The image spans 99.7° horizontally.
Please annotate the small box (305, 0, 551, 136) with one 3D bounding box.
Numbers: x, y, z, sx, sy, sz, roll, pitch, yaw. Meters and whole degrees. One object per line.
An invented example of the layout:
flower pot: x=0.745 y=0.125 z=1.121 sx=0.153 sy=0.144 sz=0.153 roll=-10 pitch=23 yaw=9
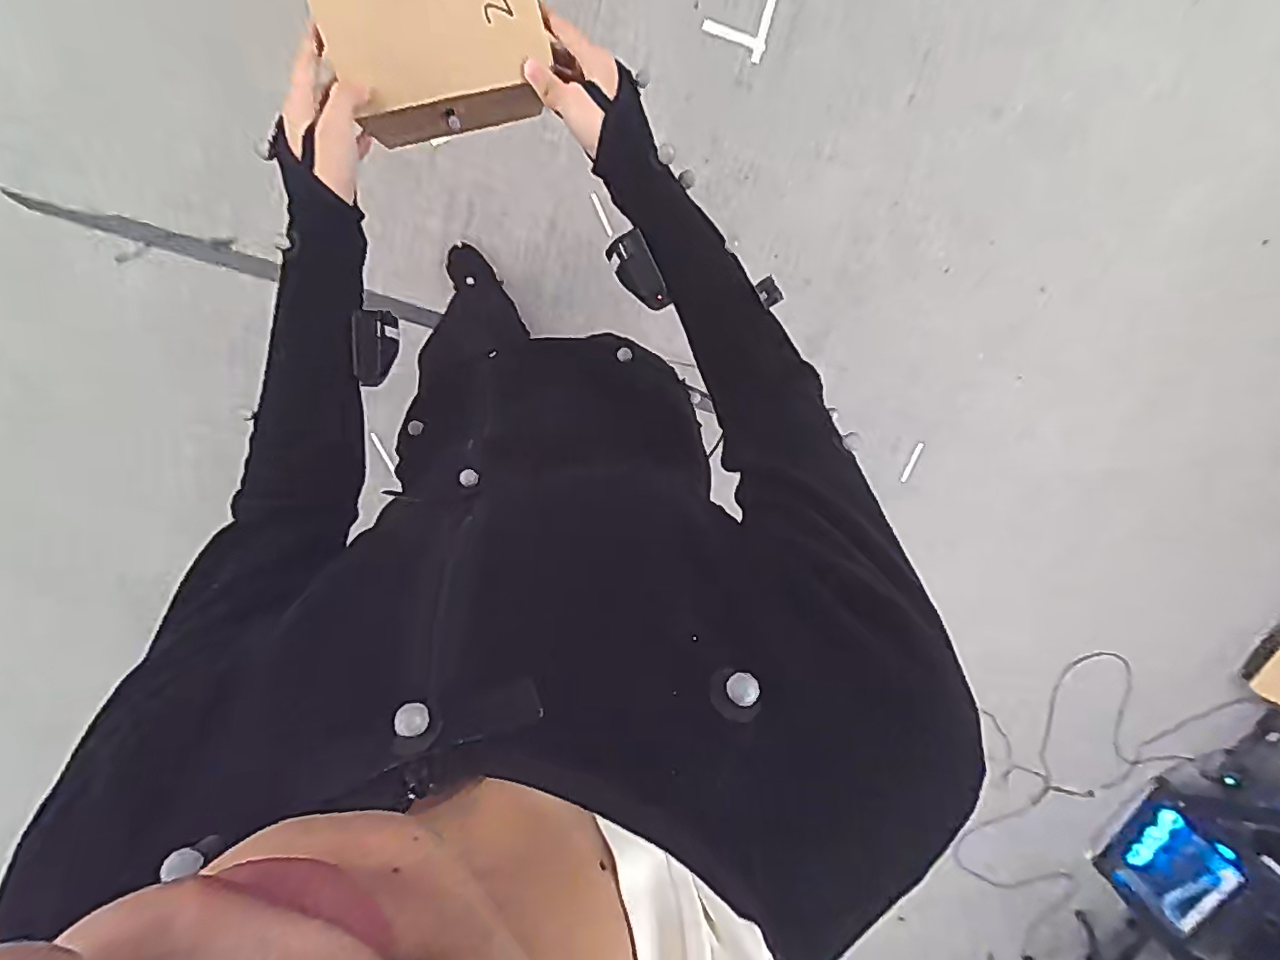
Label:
small box: x=-0.191 y=-0.426 z=0.482 sx=0.179 sy=0.176 sz=0.168 roll=-18 pitch=118 yaw=-8
